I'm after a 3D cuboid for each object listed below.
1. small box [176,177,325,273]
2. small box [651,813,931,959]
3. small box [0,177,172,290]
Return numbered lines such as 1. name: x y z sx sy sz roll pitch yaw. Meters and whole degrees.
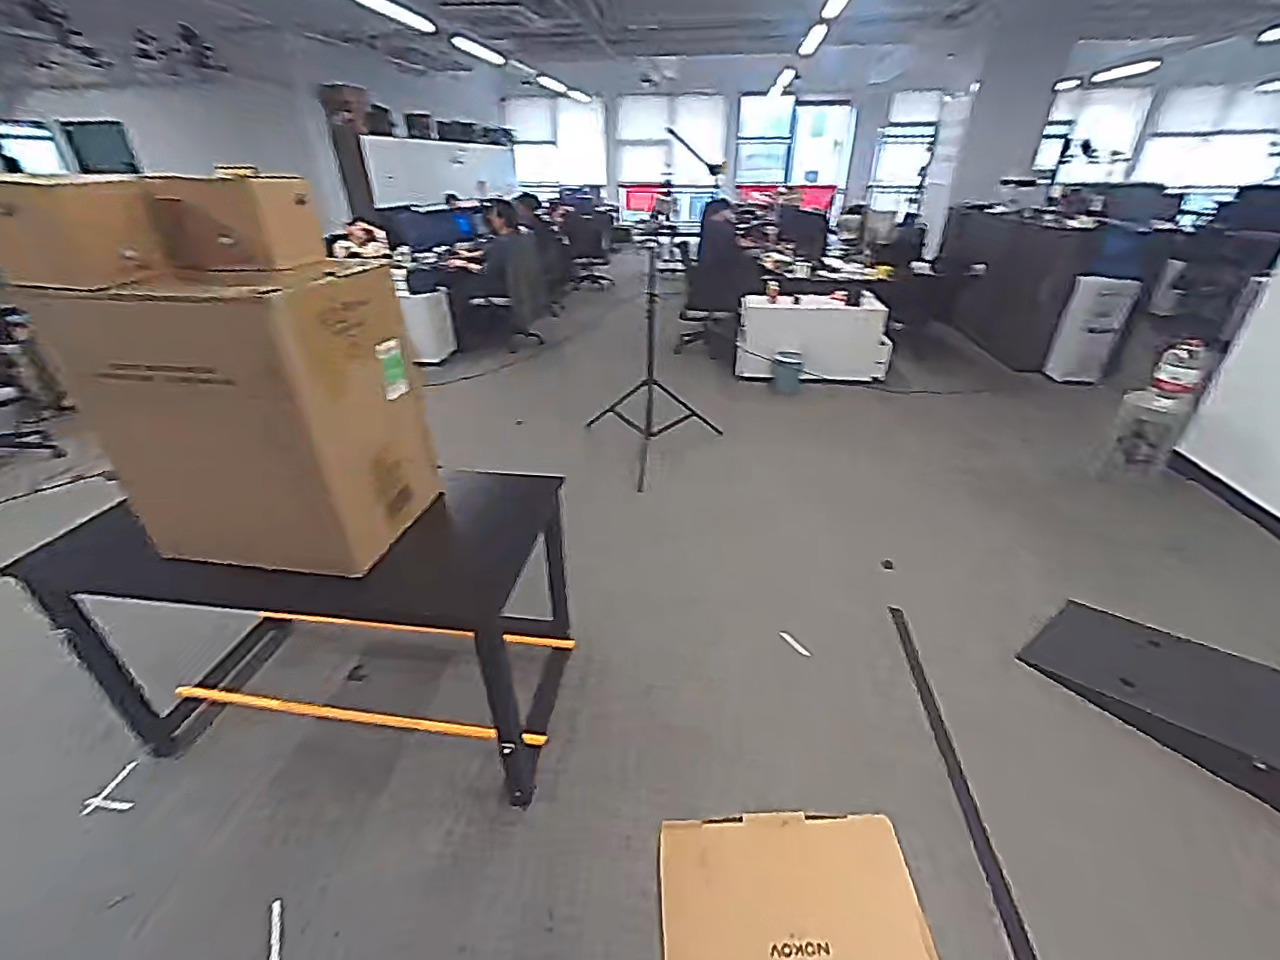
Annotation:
1. small box: -0.795 -0.534 1.130 0.168 0.176 0.179 2 29 6
2. small box: 0.092 0.353 0.365 0.168 0.176 0.179 -2 40 -1
3. small box: -1.022 -0.448 0.981 0.179 0.176 0.168 5 32 3
